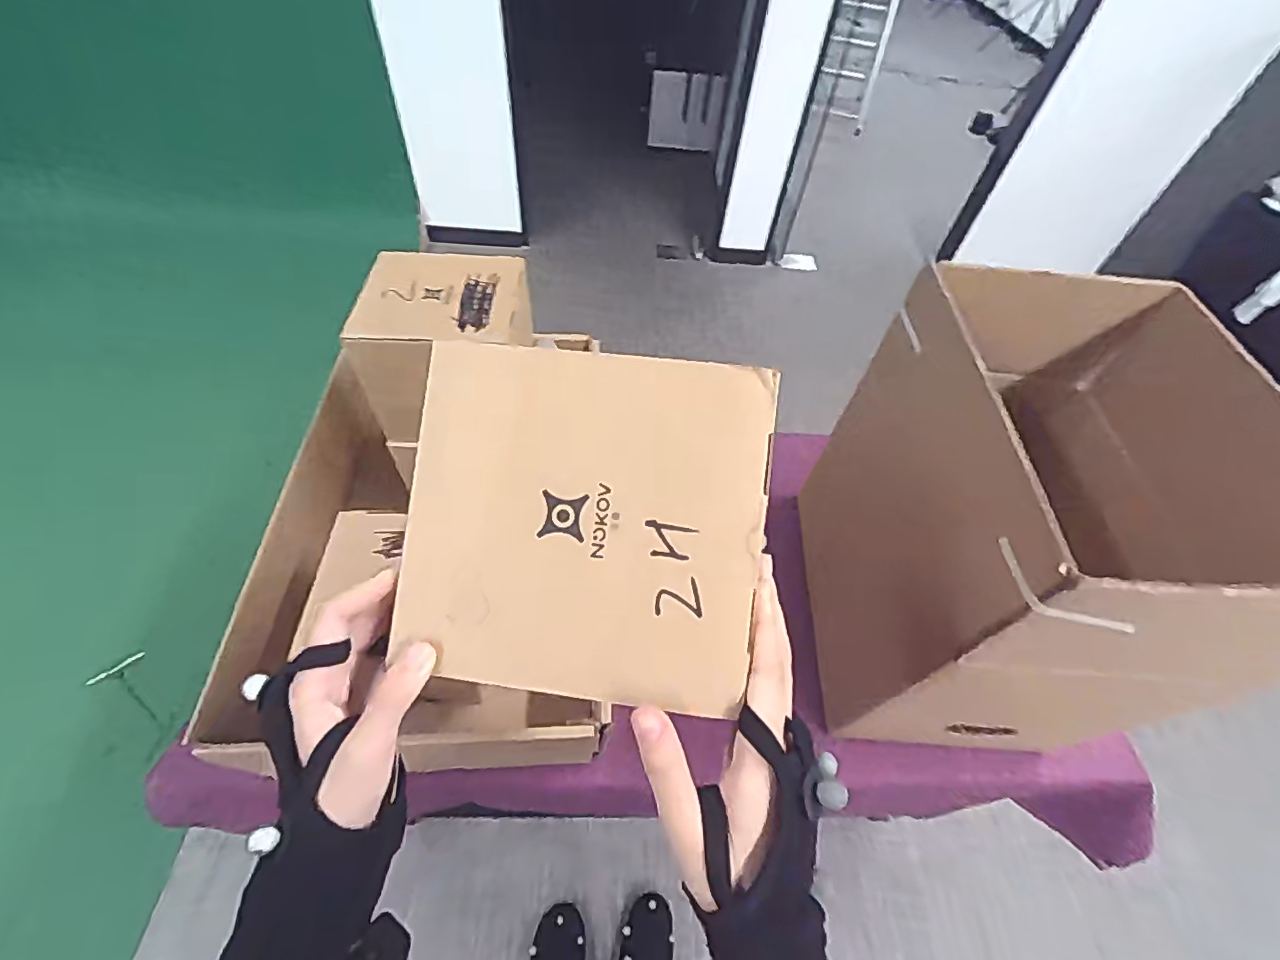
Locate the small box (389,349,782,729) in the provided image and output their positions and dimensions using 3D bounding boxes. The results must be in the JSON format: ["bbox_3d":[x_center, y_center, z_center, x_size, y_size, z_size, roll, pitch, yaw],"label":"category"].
[{"bbox_3d":[-0.021,0.030,0.342,0.179,0.176,0.168,8,87,6],"label":"small box"}]

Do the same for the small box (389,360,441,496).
[{"bbox_3d":[-0.248,-0.058,0.814,0.168,0.176,0.179,2,53,-3],"label":"small box"}]
